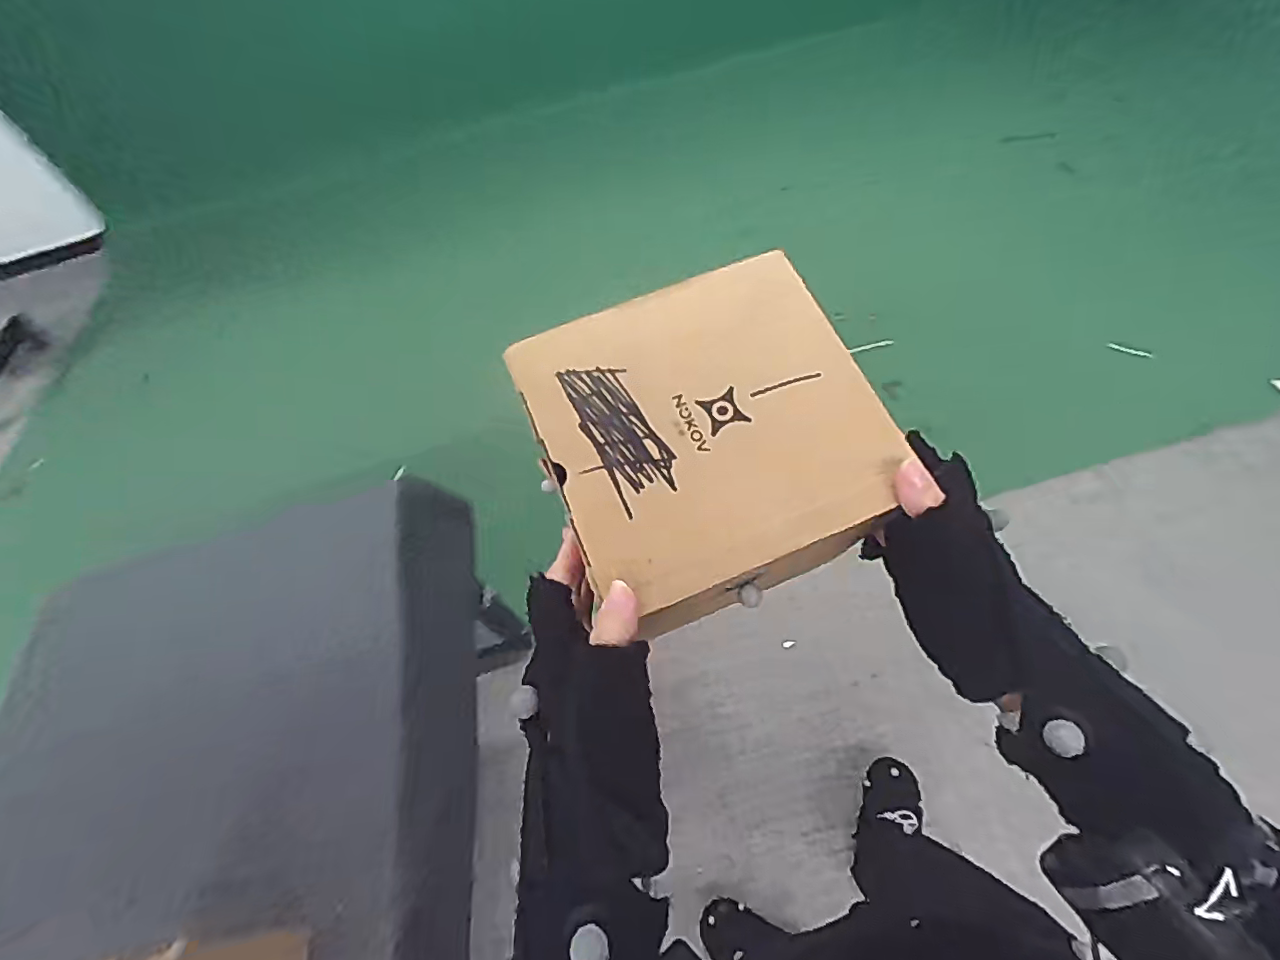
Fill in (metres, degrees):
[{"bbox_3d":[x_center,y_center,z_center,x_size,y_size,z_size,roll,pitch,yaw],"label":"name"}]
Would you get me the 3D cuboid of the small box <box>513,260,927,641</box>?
[{"bbox_3d":[0.039,-0.003,0.361,0.179,0.176,0.168,-21,70,-6],"label":"small box"}]
